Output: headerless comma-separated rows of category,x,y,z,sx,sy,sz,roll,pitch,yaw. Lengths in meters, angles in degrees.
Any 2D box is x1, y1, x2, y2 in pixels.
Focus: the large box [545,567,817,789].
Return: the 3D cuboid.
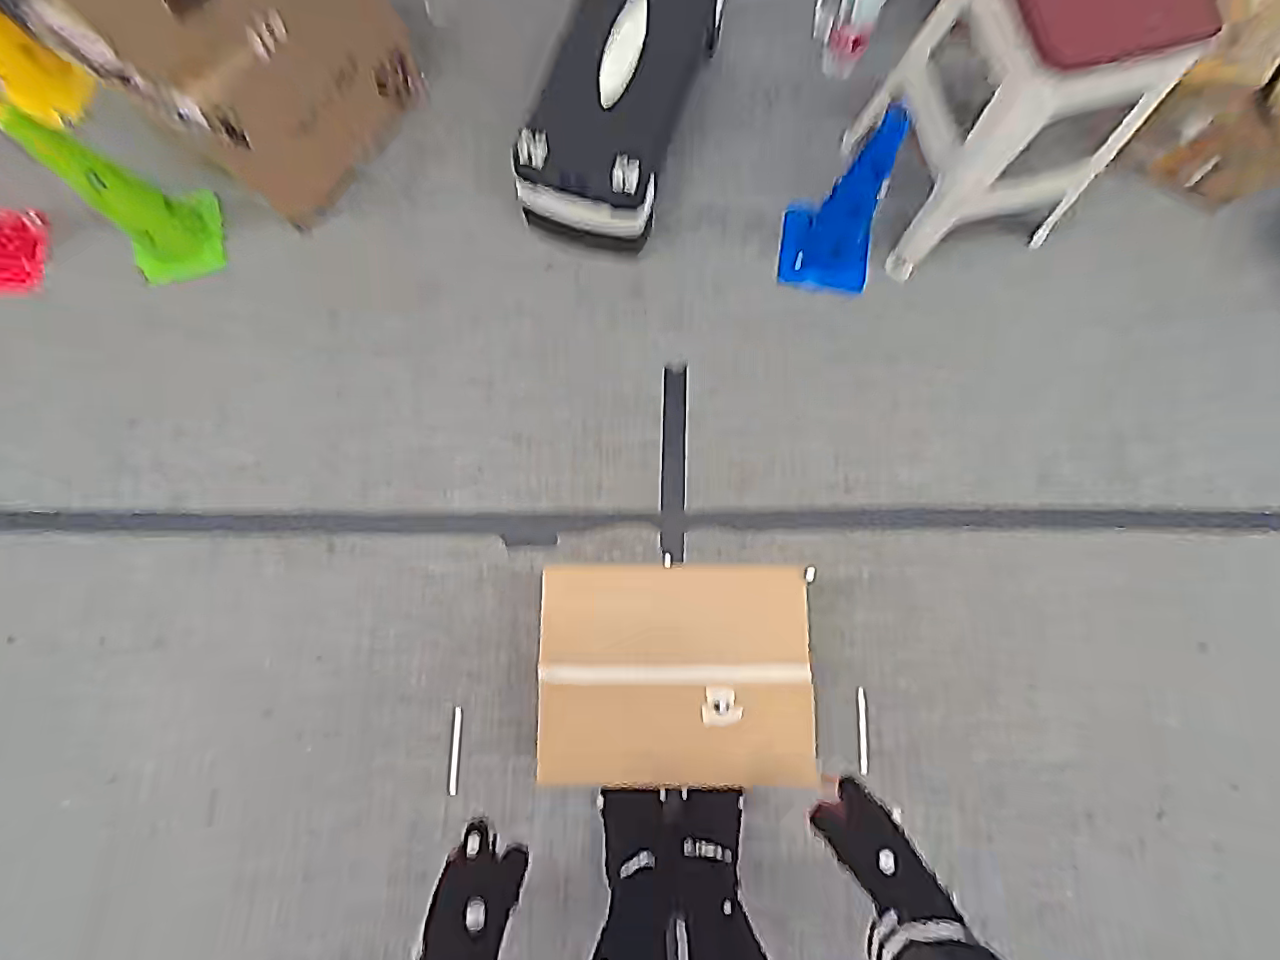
large box,0.053,0.320,0.955,0.408,0.320,0.320,0,80,-1
